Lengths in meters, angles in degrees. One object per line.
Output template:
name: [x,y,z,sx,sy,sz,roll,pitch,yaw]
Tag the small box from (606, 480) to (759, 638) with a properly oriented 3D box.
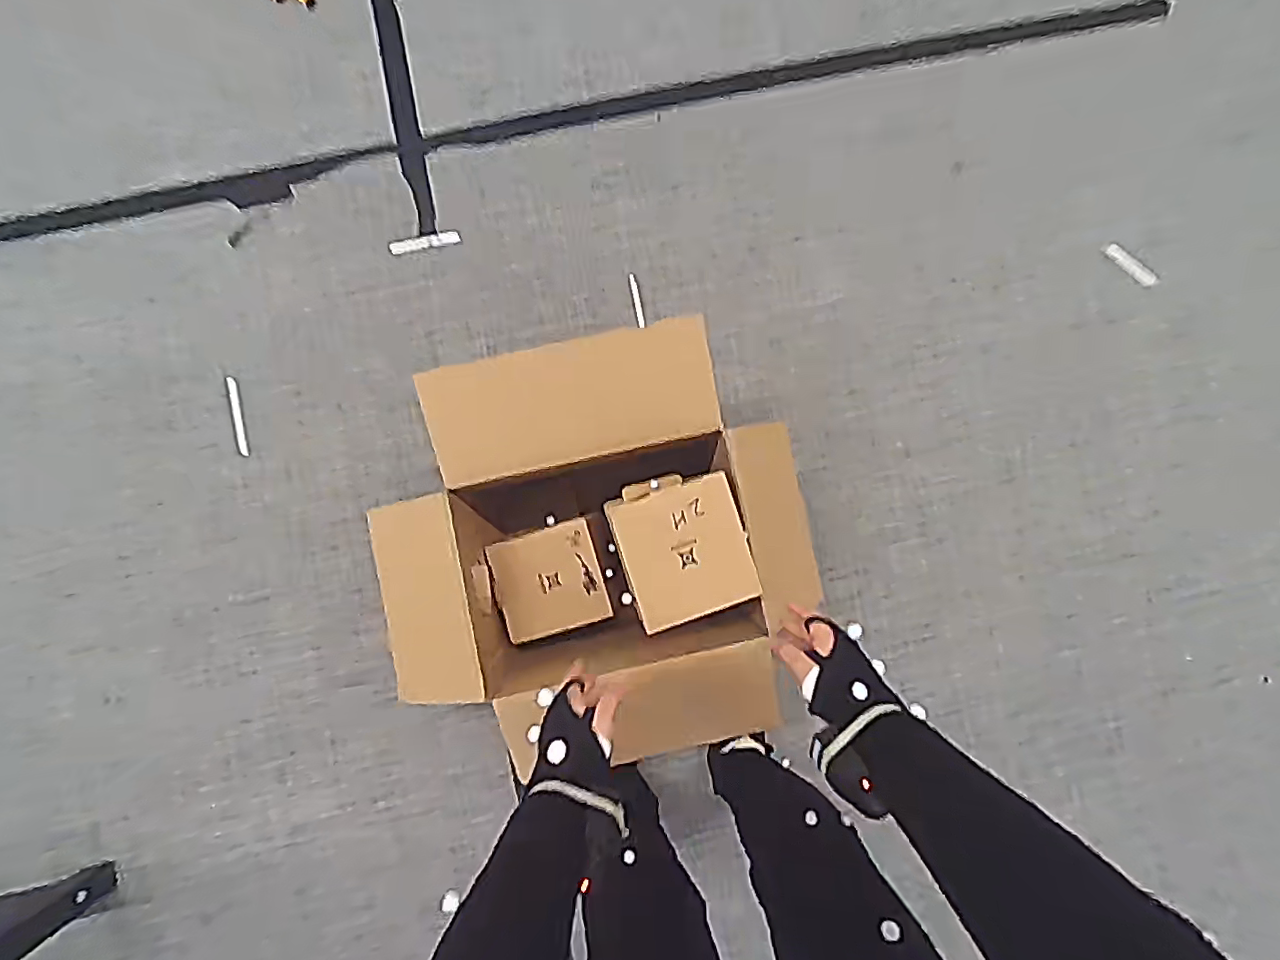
small box: [0.052,0.106,0.794,0.168,0.176,0.179,-18,89,-6]
